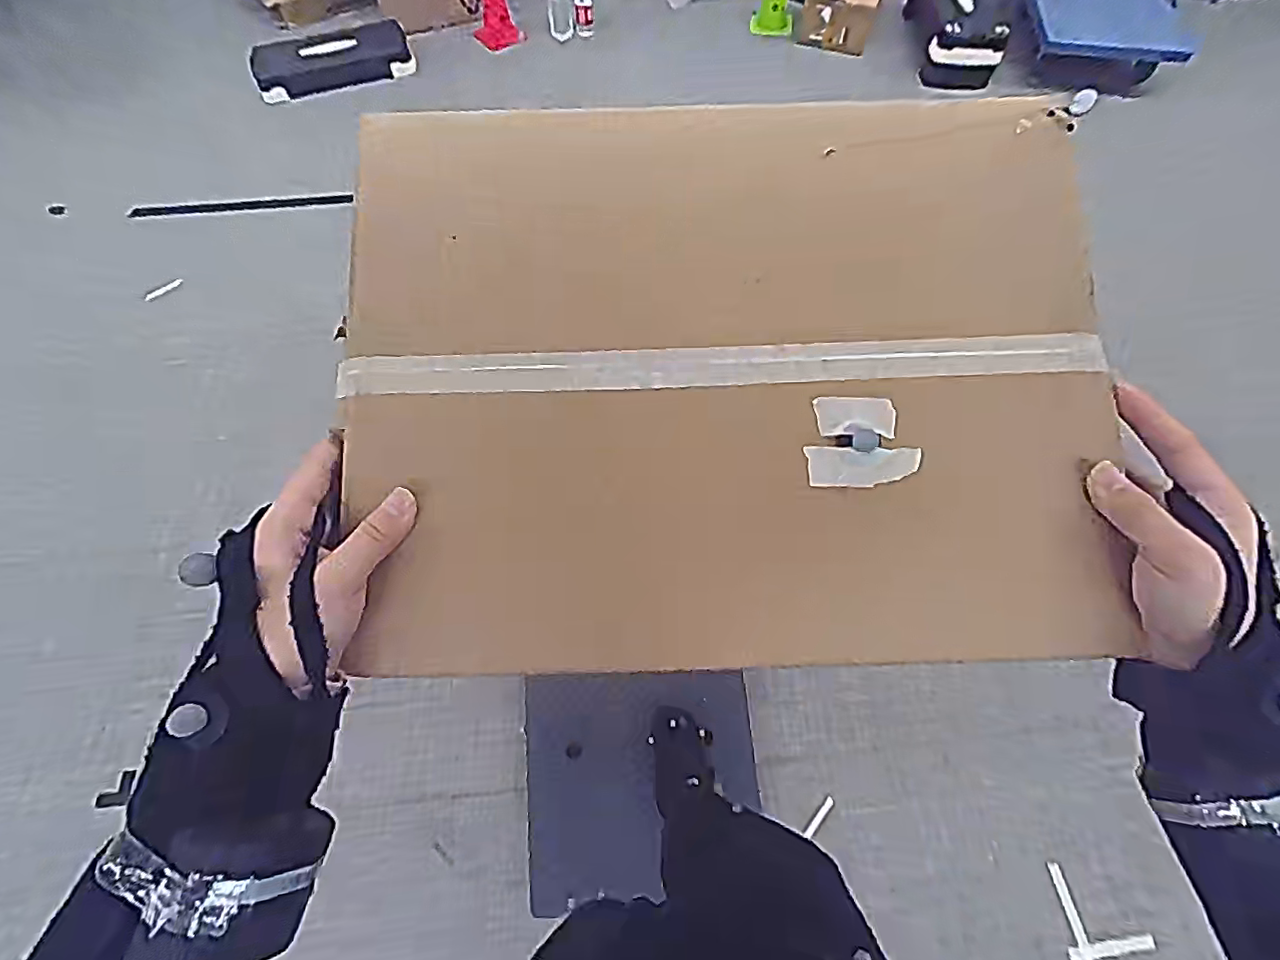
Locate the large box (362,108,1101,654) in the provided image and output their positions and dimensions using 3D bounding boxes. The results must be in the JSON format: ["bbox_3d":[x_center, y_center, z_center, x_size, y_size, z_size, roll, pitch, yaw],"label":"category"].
[{"bbox_3d":[0.042,-0.047,0.455,0.408,0.320,0.320,-2,83,0],"label":"large box"}]

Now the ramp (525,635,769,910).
[{"bbox_3d":[-0.015,0.370,1.235,0.509,0.206,0.991,-5,64,-3],"label":"ramp"}]
